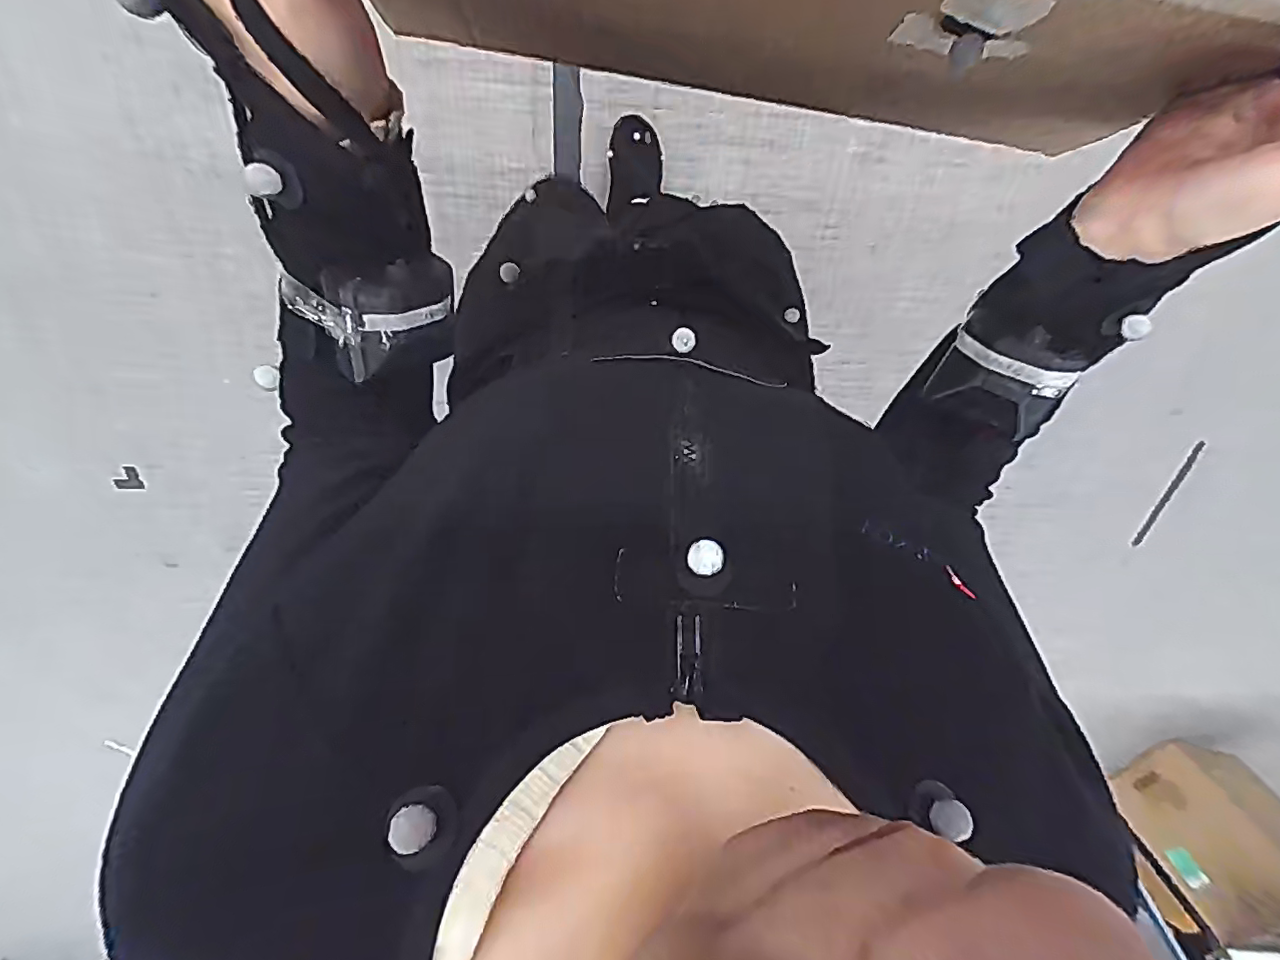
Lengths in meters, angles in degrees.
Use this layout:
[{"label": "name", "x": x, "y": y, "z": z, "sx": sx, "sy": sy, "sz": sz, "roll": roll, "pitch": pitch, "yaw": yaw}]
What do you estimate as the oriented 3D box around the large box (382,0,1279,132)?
[{"label": "large box", "x": 0.089, "y": -0.342, "z": 0.137, "sx": 0.408, "sy": 0.320, "sz": 0.320, "roll": 5, "pitch": 105, "yaw": -7}]
